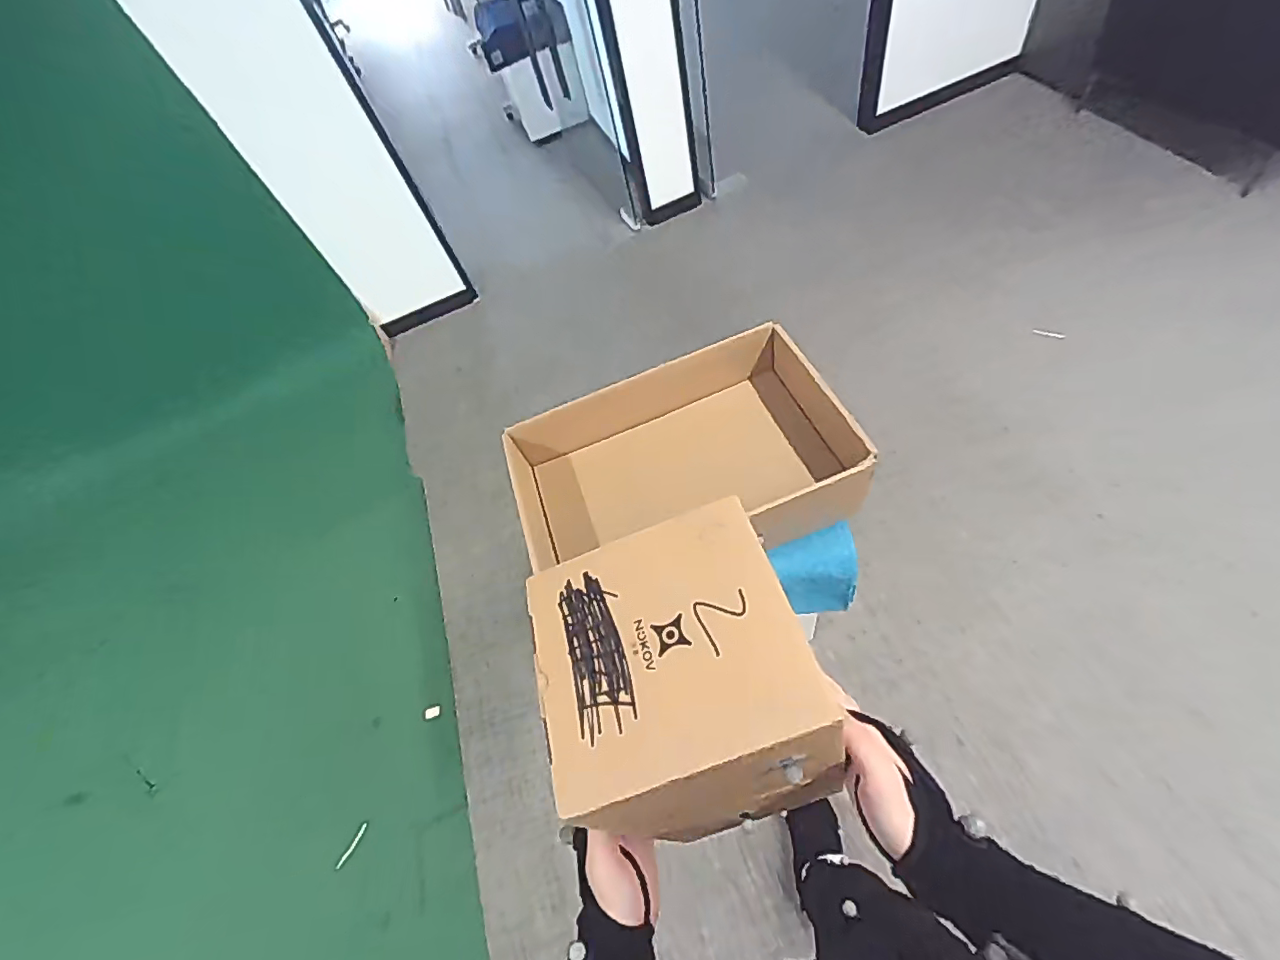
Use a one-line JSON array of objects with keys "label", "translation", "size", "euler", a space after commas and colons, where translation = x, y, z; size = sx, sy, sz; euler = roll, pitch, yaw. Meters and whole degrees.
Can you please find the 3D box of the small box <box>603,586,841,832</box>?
[{"label": "small box", "translation": [0.084, 0.236, 0.545], "size": [0.179, 0.176, 0.168], "euler": [-23, 51, 6]}]
